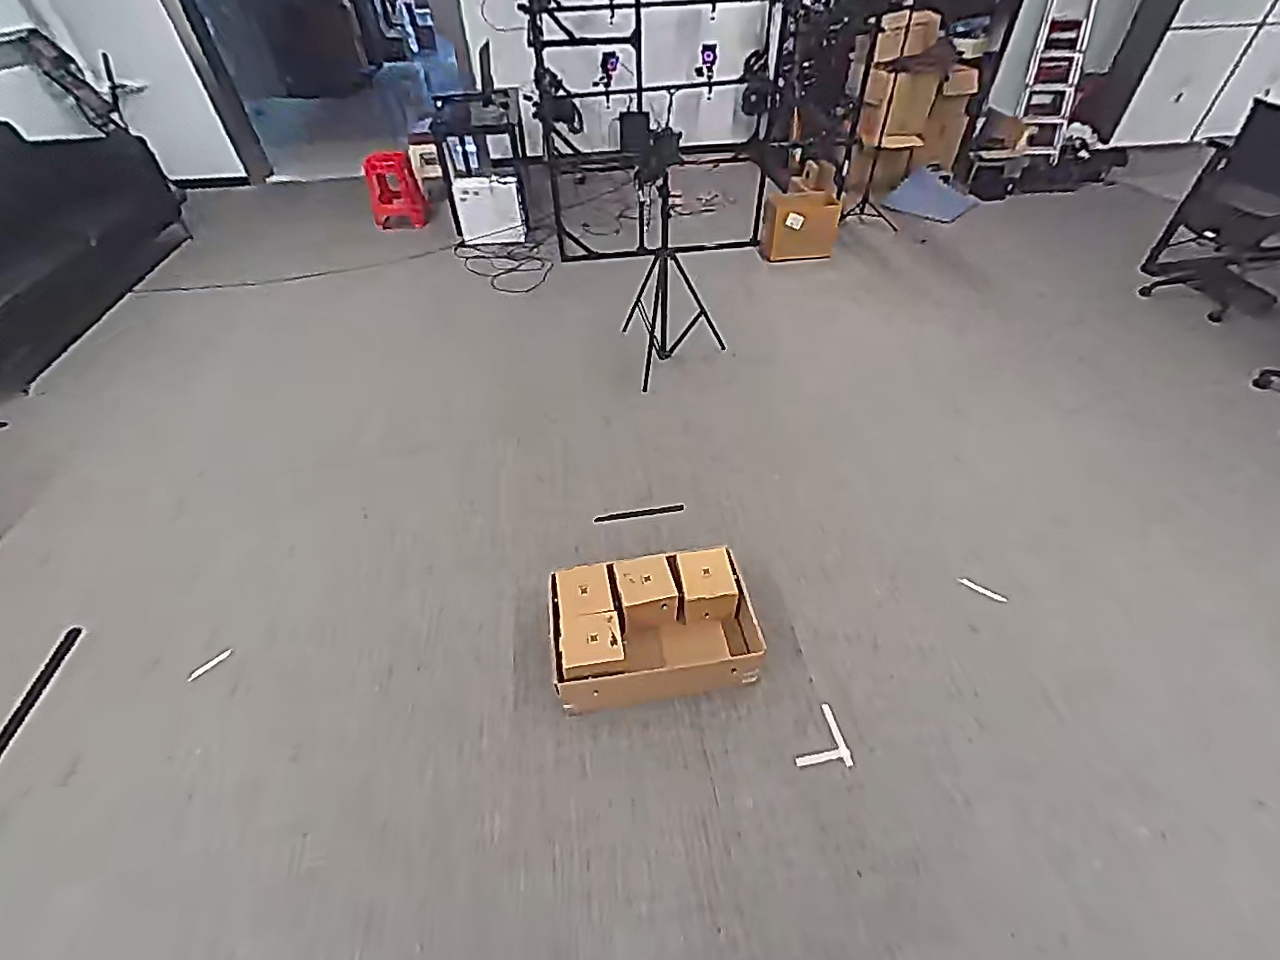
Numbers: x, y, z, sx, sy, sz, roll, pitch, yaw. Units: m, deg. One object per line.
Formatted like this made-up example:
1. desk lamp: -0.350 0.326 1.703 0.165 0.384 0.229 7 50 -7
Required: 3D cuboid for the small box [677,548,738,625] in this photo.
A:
1. small box: 0.214 0.350 1.772 0.168 0.176 0.179 -8 48 -4
